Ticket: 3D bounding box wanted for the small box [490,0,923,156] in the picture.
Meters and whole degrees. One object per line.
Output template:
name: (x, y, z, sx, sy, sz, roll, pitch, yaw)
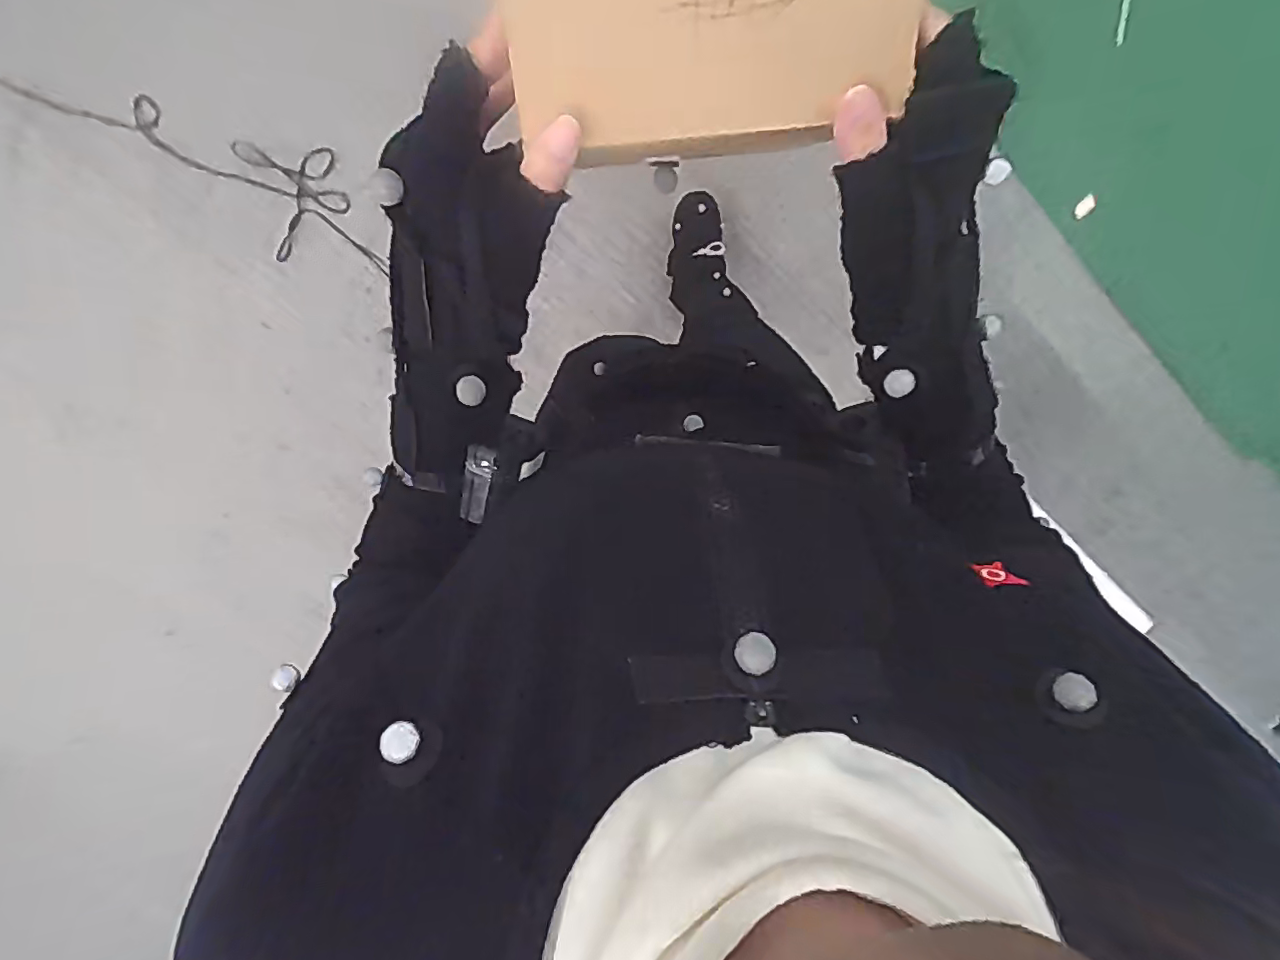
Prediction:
small box: (0.017, -0.265, 0.249, 0.168, 0.176, 0.179, -6, 117, 0)
